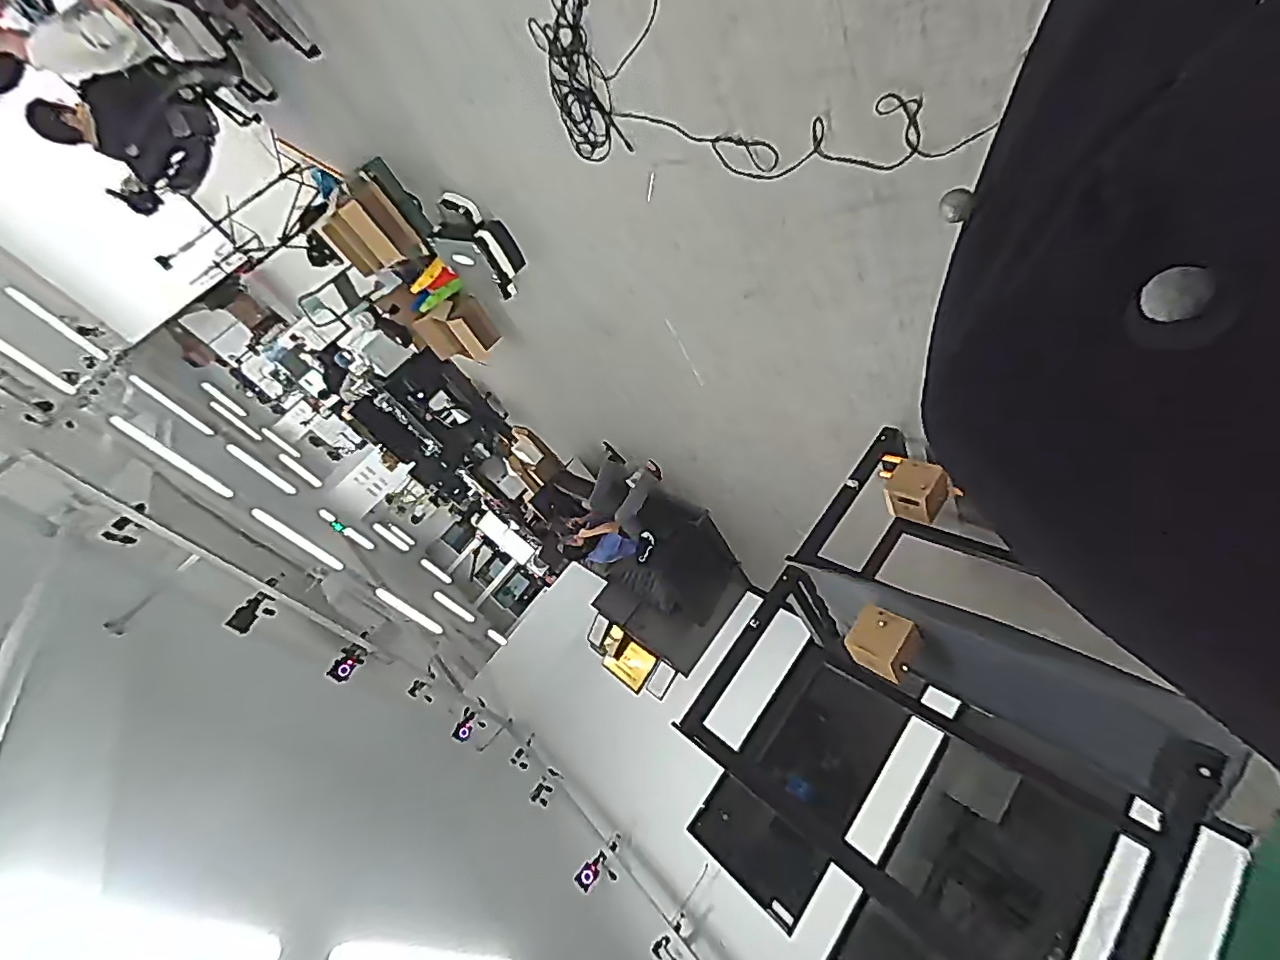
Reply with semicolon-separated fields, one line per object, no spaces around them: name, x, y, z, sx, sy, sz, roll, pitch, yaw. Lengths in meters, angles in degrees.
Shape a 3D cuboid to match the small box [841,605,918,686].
small box;0.816;0.556;1.831;0.168;0.176;0.179;20;155;47
